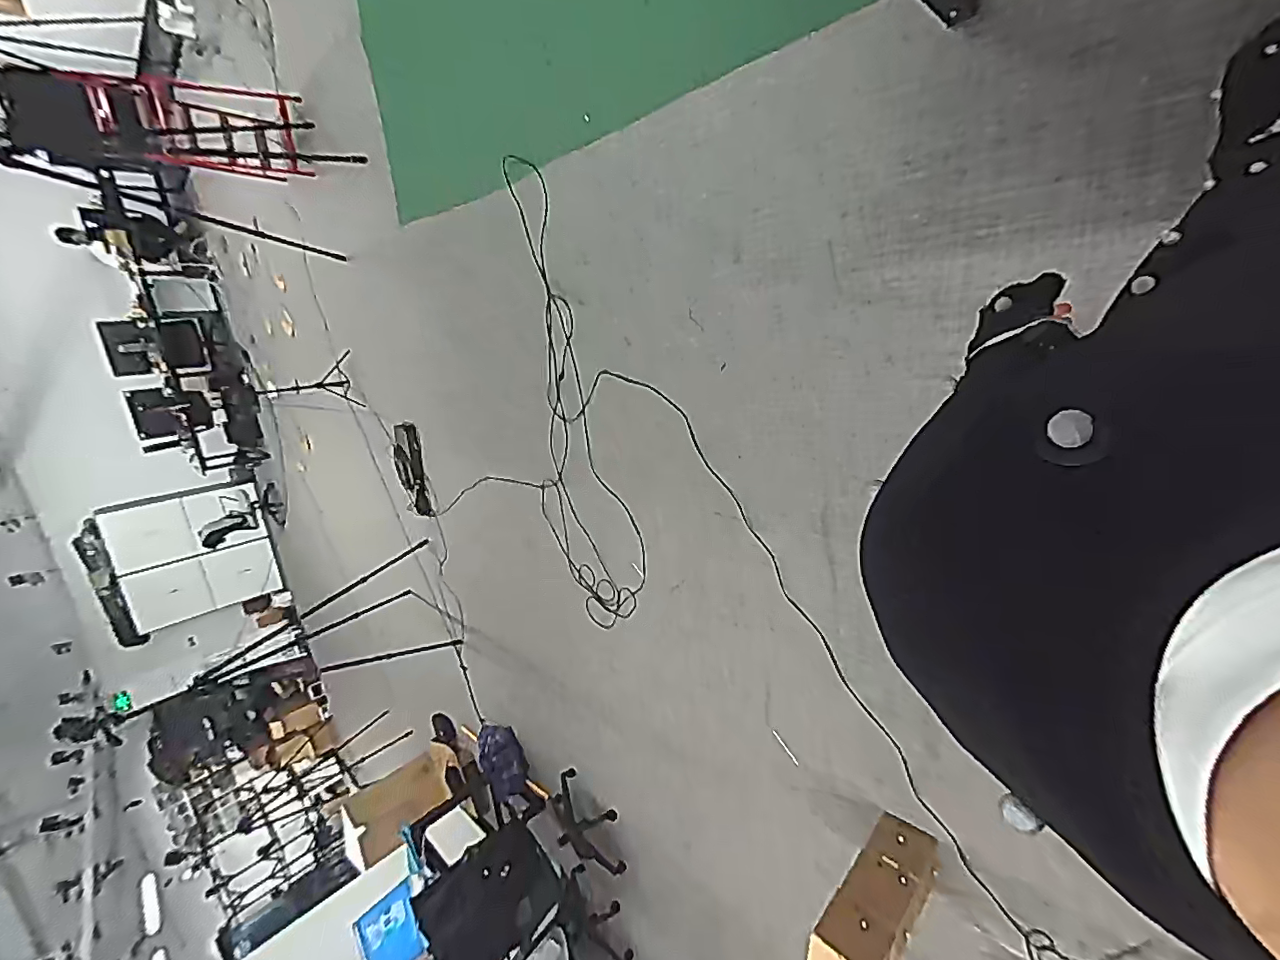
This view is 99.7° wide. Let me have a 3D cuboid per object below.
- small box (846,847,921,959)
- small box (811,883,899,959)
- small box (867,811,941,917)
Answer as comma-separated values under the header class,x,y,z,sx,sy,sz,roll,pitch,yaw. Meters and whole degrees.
class,x,y,z,sx,sy,sz,roll,pitch,yaw
small box,0.711,1.241,1.592,0.168,0.176,0.179,12,114,43
small box,0.593,1.280,1.488,0.168,0.176,0.179,18,117,41
small box,0.830,1.195,1.700,0.168,0.176,0.179,9,110,47
